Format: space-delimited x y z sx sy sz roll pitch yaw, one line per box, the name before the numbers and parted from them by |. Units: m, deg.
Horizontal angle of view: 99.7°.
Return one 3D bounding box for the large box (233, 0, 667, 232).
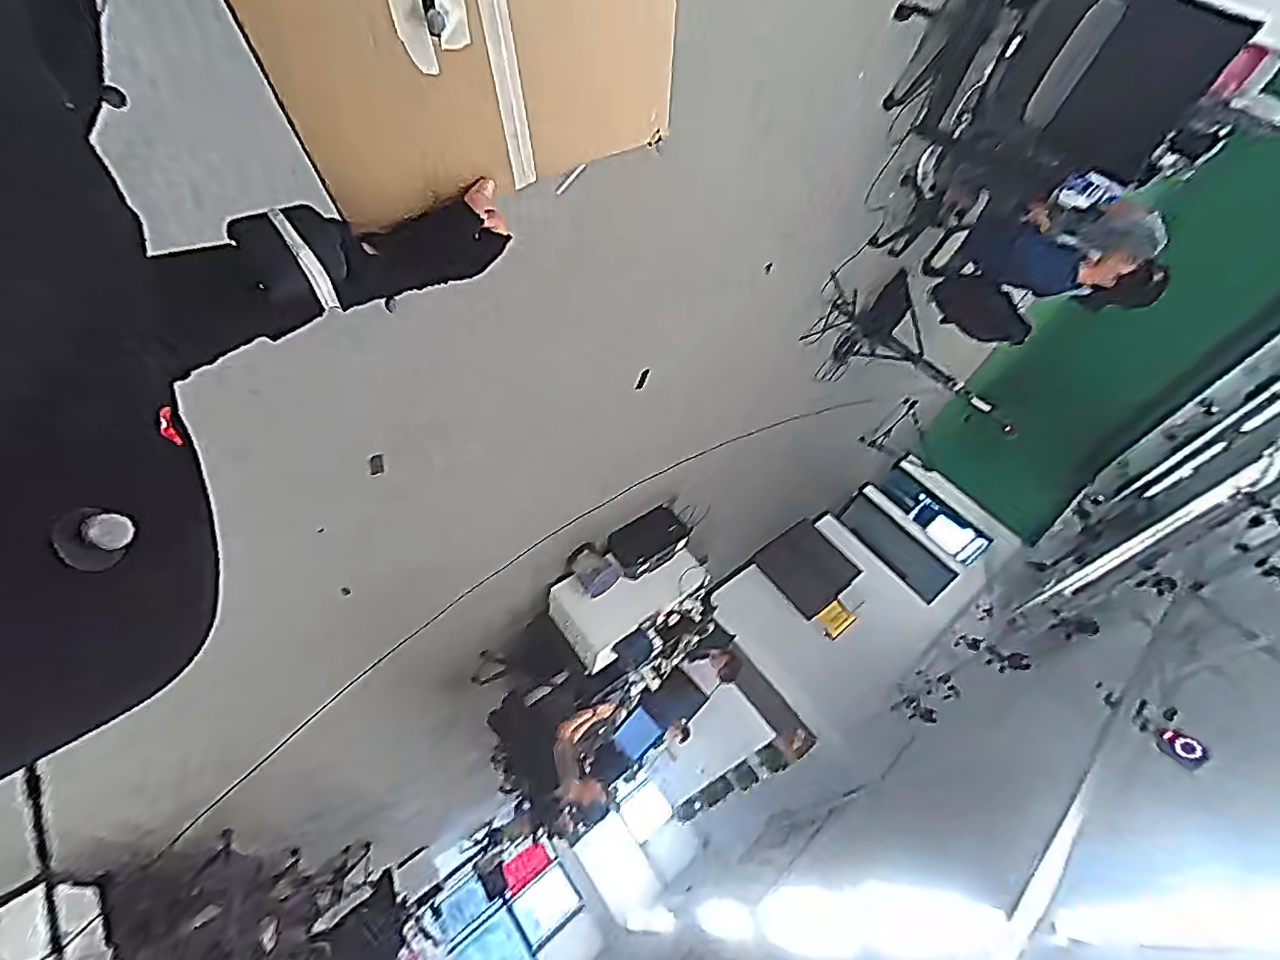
large box | -0.184 -0.485 0.386 0.320 0.320 0.408 -27 157 -14
